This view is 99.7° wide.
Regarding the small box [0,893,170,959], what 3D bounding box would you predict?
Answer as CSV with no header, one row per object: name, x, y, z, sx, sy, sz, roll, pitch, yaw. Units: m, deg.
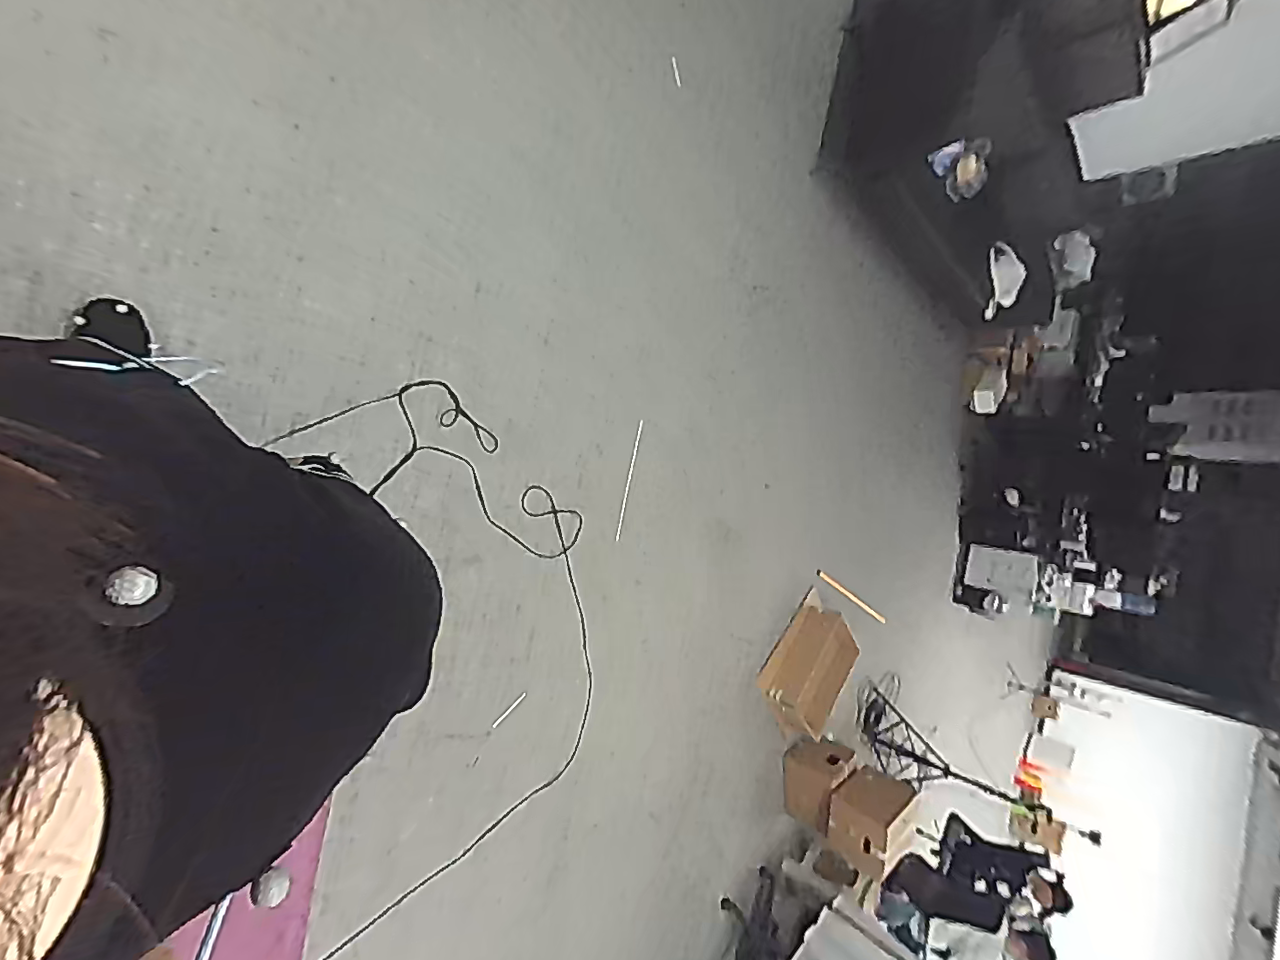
small box,-0.595,0.554,0.530,0.168,0.176,0.179,15,85,-44
